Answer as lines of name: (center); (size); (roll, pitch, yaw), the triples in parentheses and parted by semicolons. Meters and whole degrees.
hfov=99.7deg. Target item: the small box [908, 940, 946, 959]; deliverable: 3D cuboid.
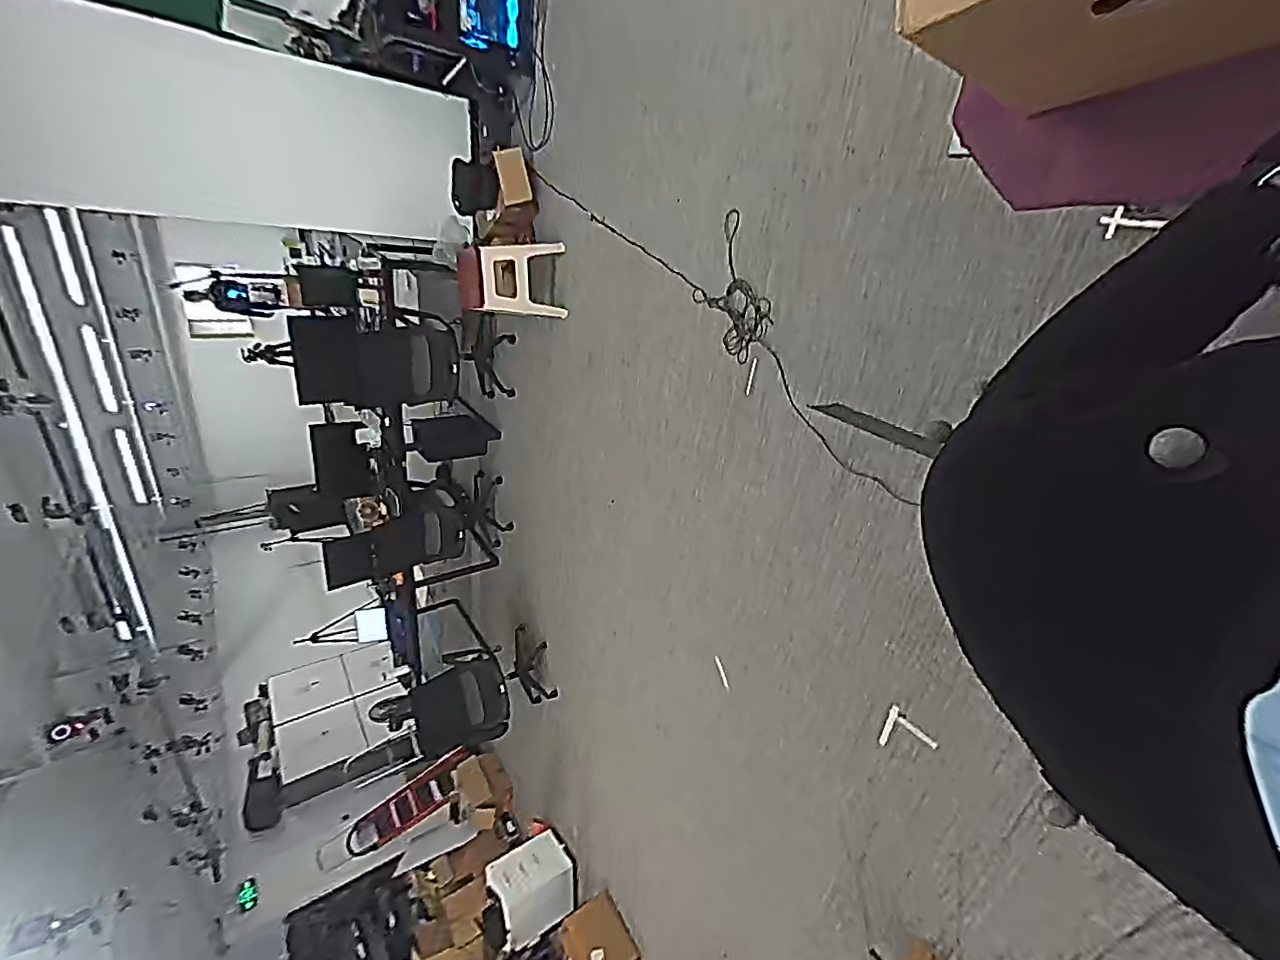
small box: (0.932, 1.653, 1.745); (0.168, 0.176, 0.179); (34, 127, 46)
